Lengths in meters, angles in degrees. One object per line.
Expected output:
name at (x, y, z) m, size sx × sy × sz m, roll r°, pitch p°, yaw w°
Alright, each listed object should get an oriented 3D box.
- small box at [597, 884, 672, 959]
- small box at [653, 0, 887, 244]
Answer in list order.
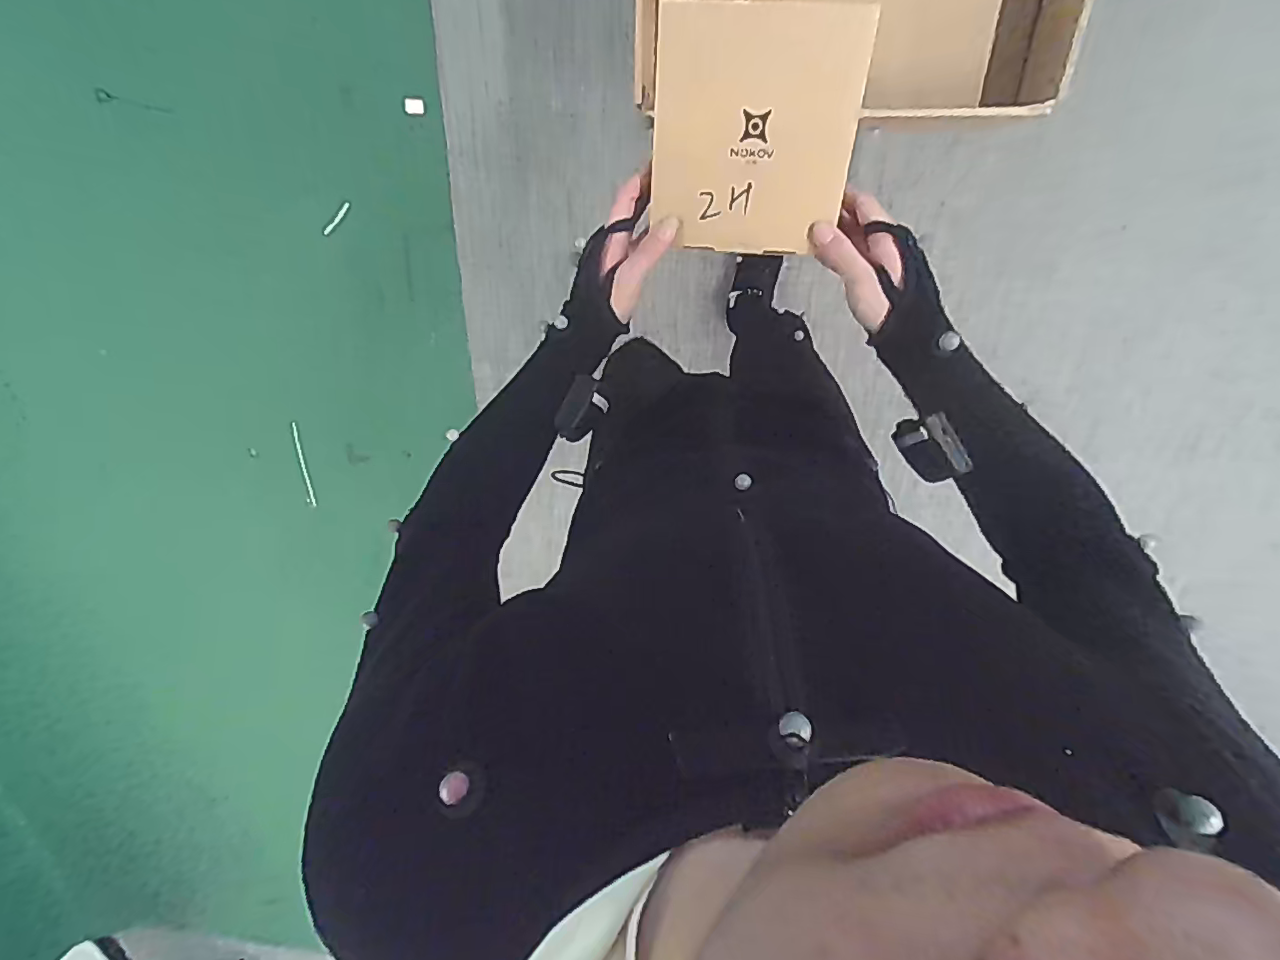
small box at (-0.008, 1.154, 1.346) m, size 0.168 × 0.176 × 0.179 m, roll 2°, pitch 115°, yaw 7°
small box at (0.103, -0.333, 0.509) m, size 0.168 × 0.176 × 0.179 m, roll 5°, pitch 122°, yaw 2°
